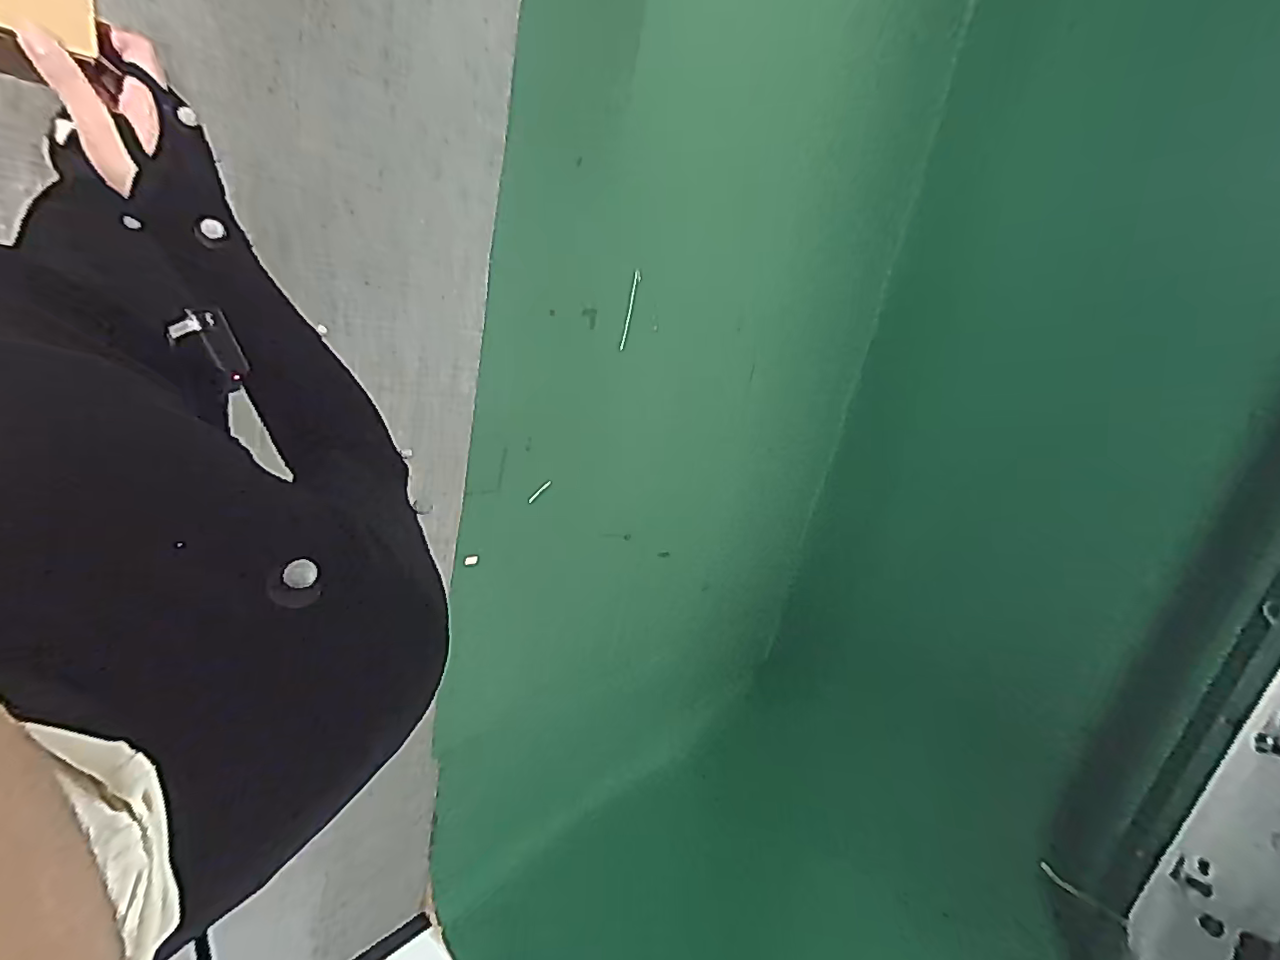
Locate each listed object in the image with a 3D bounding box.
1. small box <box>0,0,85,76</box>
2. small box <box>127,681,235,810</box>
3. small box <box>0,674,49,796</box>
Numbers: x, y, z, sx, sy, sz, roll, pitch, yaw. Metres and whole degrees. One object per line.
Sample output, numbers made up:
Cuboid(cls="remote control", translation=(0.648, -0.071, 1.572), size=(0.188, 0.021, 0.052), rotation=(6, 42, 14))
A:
Cuboid(cls="small box", translation=(-0.491, -0.402, 0.351), size=(0.168, 0.176, 0.179), rotation=(-10, 114, -47))
Cuboid(cls="small box", translation=(-1.058, 0.600, 1.245), size=(0.168, 0.176, 0.179), rotation=(1, 109, -49))
Cuboid(cls="small box", translation=(-1.359, 0.541, 1.126), size=(0.168, 0.176, 0.179), rotation=(-1, 110, -50))
